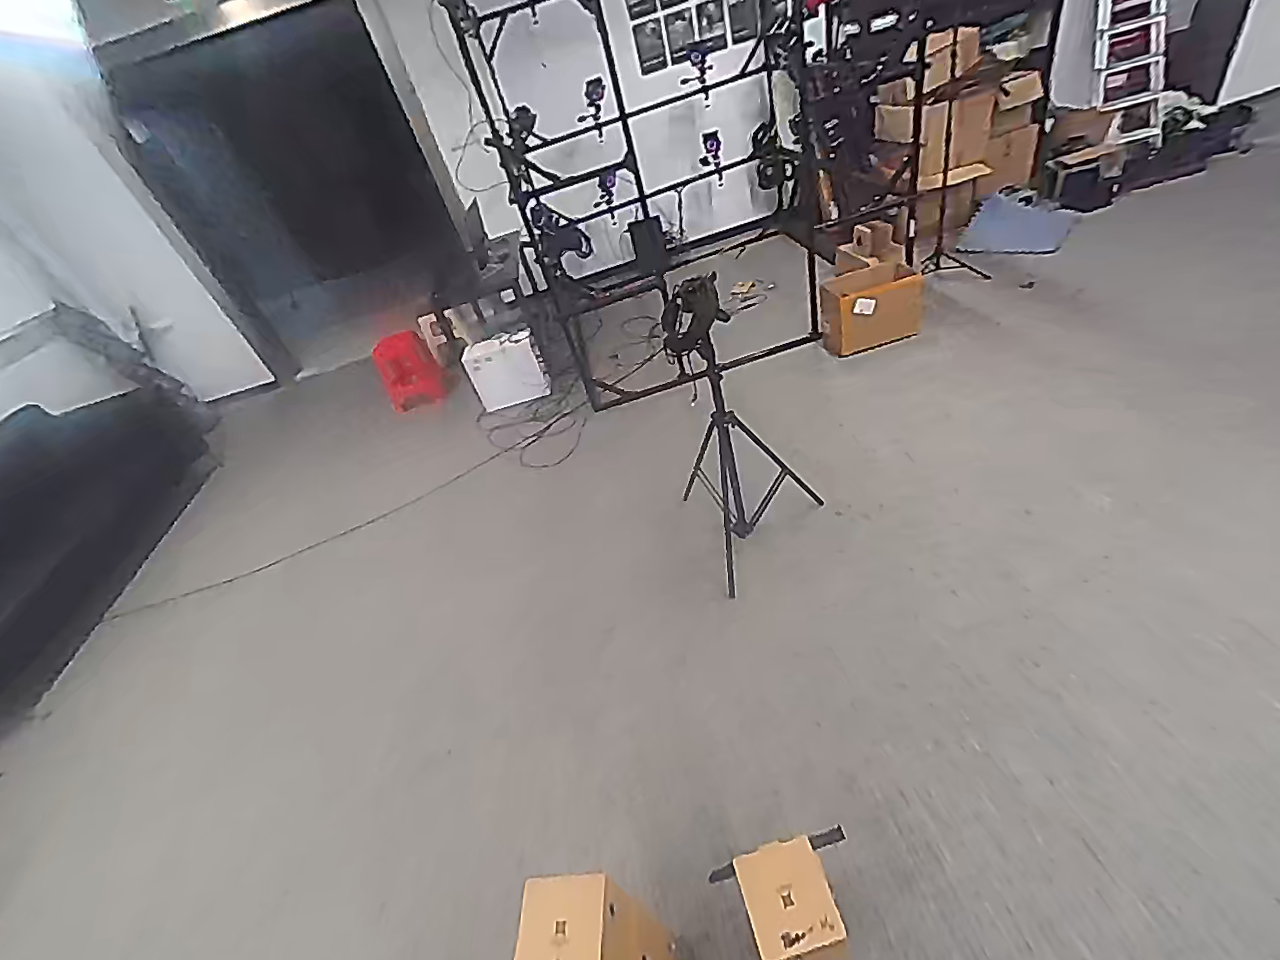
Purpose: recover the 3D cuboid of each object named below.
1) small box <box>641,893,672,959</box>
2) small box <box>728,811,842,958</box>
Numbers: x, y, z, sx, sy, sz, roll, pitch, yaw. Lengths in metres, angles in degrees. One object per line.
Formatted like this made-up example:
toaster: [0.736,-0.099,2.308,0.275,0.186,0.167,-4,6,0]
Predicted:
small box: [-0.026,1.048,1.182,0.168,0.176,0.179,-17,38,4]
small box: [0.287,0.806,1.080,0.168,0.176,0.179,-18,38,0]
